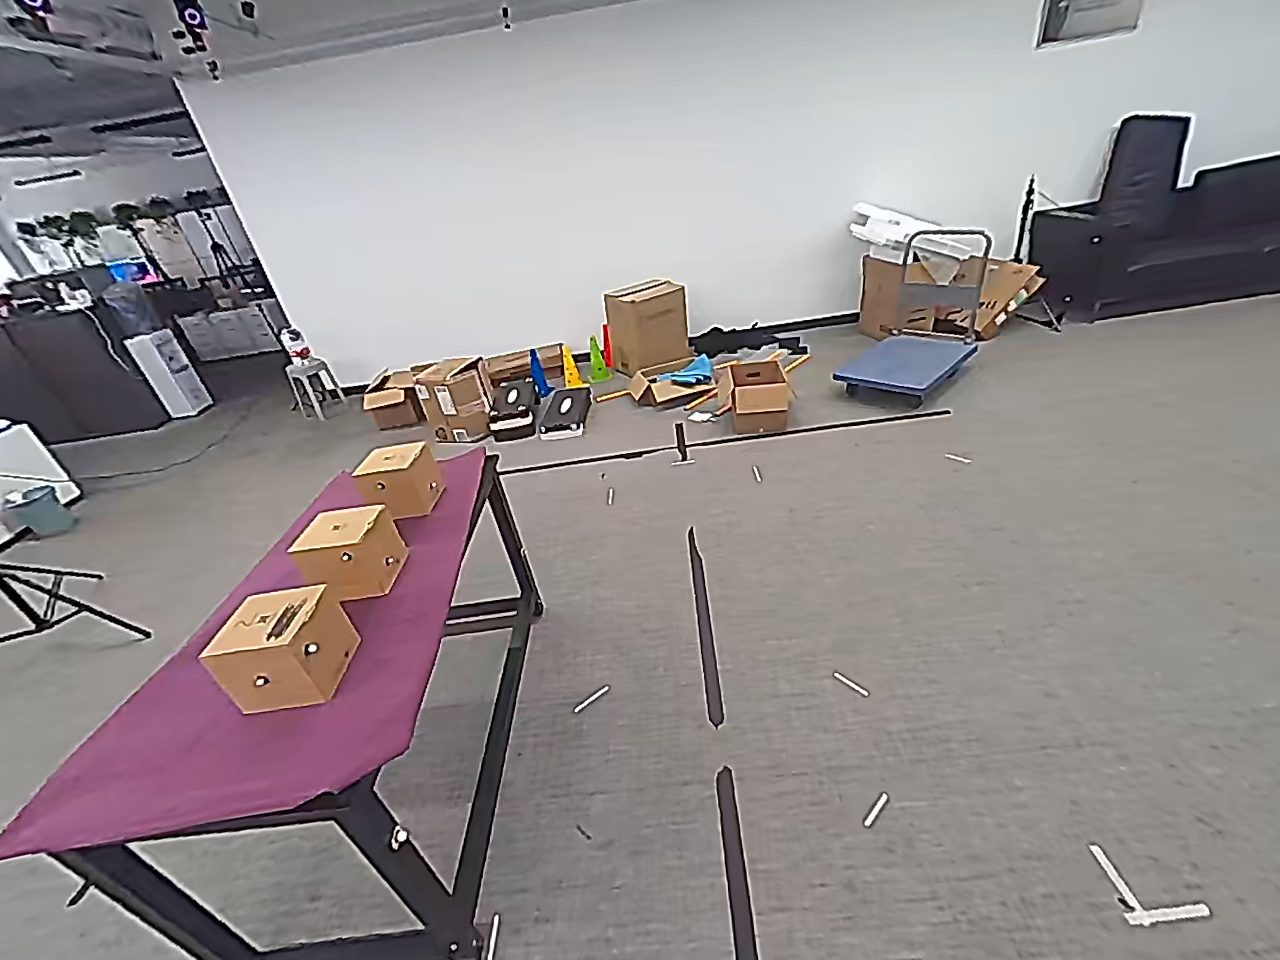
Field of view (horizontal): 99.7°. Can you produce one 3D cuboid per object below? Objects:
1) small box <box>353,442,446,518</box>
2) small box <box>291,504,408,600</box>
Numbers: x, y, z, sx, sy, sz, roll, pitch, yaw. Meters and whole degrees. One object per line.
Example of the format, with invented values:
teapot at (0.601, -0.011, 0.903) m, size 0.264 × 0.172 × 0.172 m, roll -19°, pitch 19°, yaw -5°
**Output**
small box at (-0.725, 0.006, 1.651) m, size 0.179 × 0.176 × 0.168 m, roll -8°, pitch 32°, yaw 5°
small box at (-0.719, 0.184, 1.361) m, size 0.179 × 0.176 × 0.168 m, roll -8°, pitch 31°, yaw 3°
